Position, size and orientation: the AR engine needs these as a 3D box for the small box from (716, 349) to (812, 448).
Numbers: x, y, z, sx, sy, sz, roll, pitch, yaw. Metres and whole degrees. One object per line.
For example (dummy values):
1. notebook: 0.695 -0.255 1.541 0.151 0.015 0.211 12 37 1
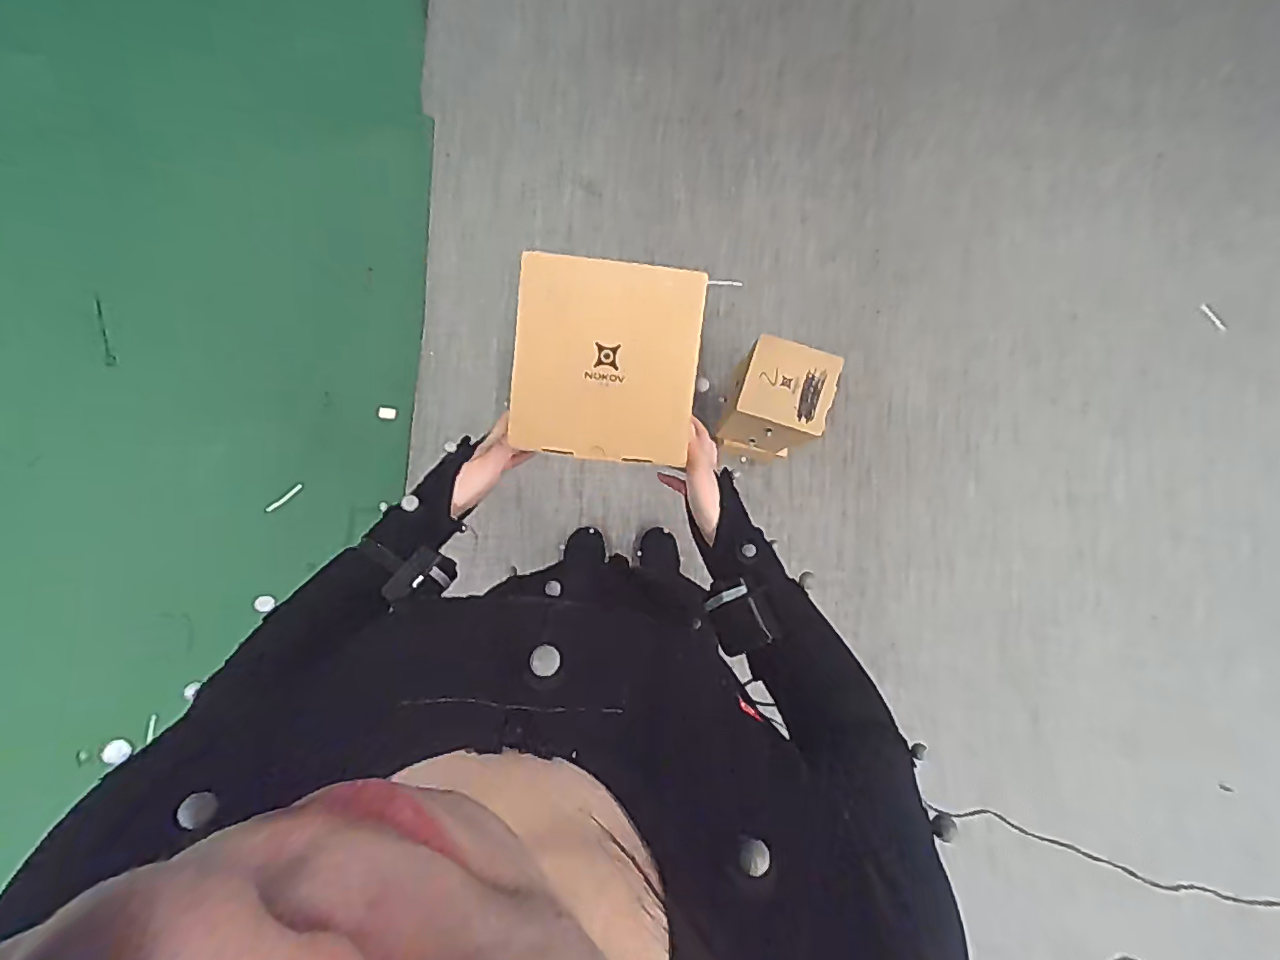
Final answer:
1. small box: 0.286 -0.185 1.285 0.168 0.176 0.179 16 86 1

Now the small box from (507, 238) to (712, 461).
1. small box: -0.031 -0.122 0.551 0.168 0.176 0.179 6 99 -3

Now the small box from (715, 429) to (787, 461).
1. small box: 0.303 -0.158 1.447 0.168 0.176 0.179 12 86 1
